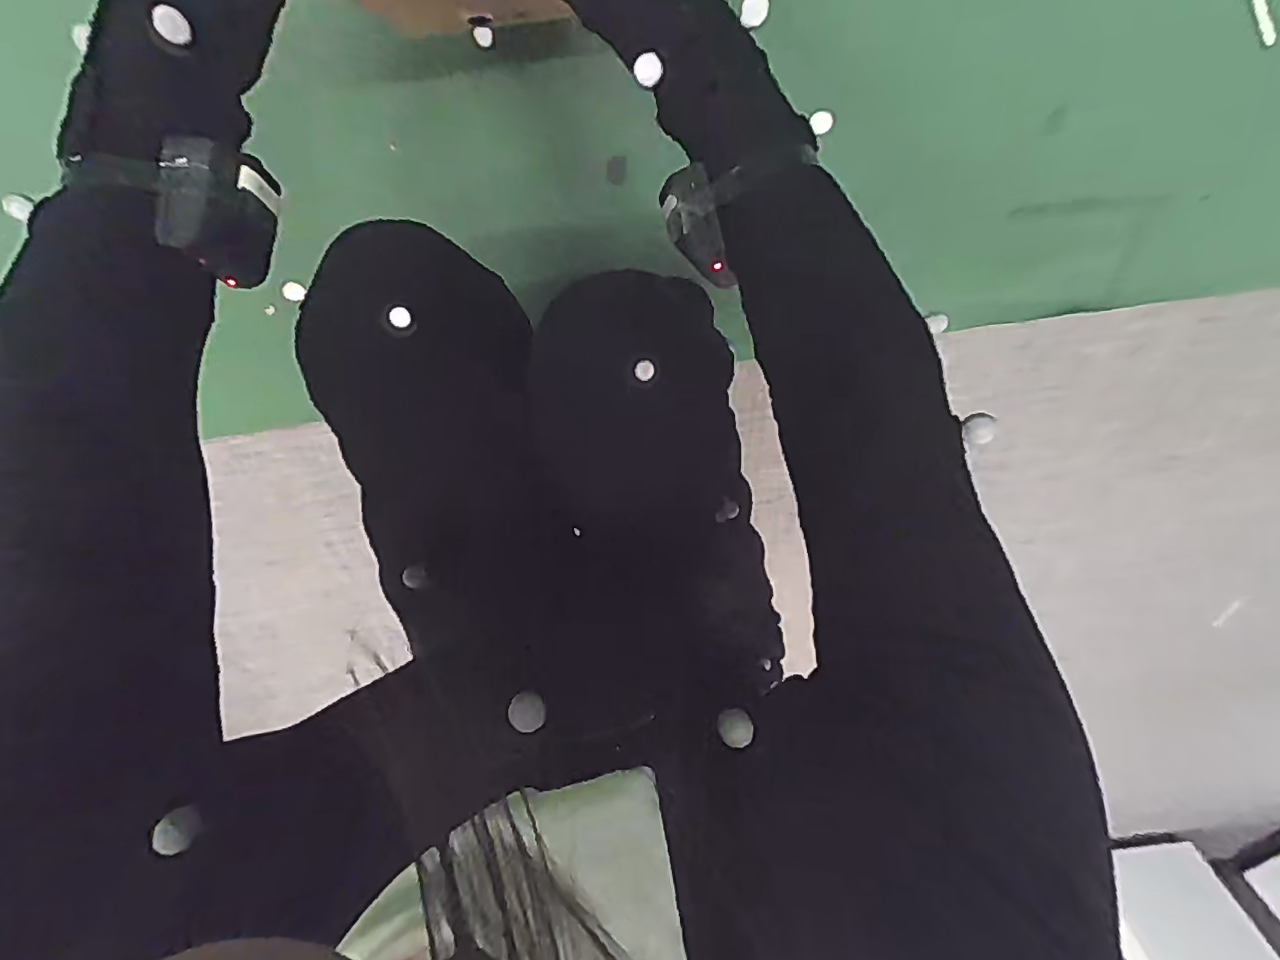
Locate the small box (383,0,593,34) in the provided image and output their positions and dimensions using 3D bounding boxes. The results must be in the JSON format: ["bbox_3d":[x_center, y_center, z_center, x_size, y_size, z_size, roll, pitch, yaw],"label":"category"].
[{"bbox_3d":[-0.126,-0.430,0.354,0.168,0.176,0.179,-5,120,4],"label":"small box"}]
